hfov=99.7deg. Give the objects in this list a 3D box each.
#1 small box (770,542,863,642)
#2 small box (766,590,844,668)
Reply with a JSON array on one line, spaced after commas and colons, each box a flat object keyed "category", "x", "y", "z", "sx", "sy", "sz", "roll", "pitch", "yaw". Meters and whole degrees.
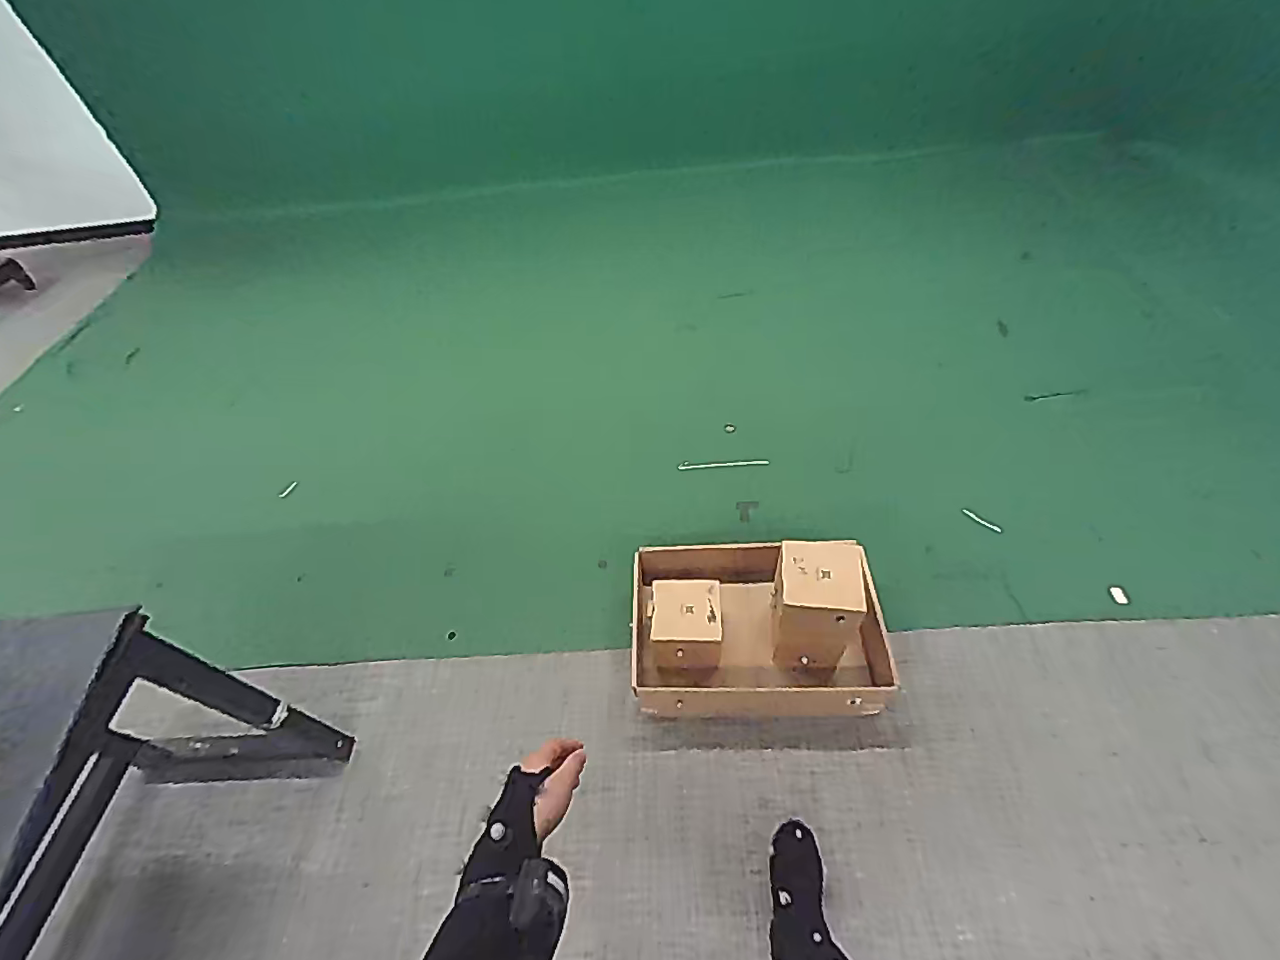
[{"category": "small box", "x": 0.403, "y": 0.265, "z": 1.262, "sx": 0.179, "sy": 0.176, "sz": 0.168, "roll": 3, "pitch": 52, "yaw": 9}, {"category": "small box", "x": 0.417, "y": 0.364, "z": 1.393, "sx": 0.168, "sy": 0.176, "sz": 0.179, "roll": 3, "pitch": 53, "yaw": 9}]
